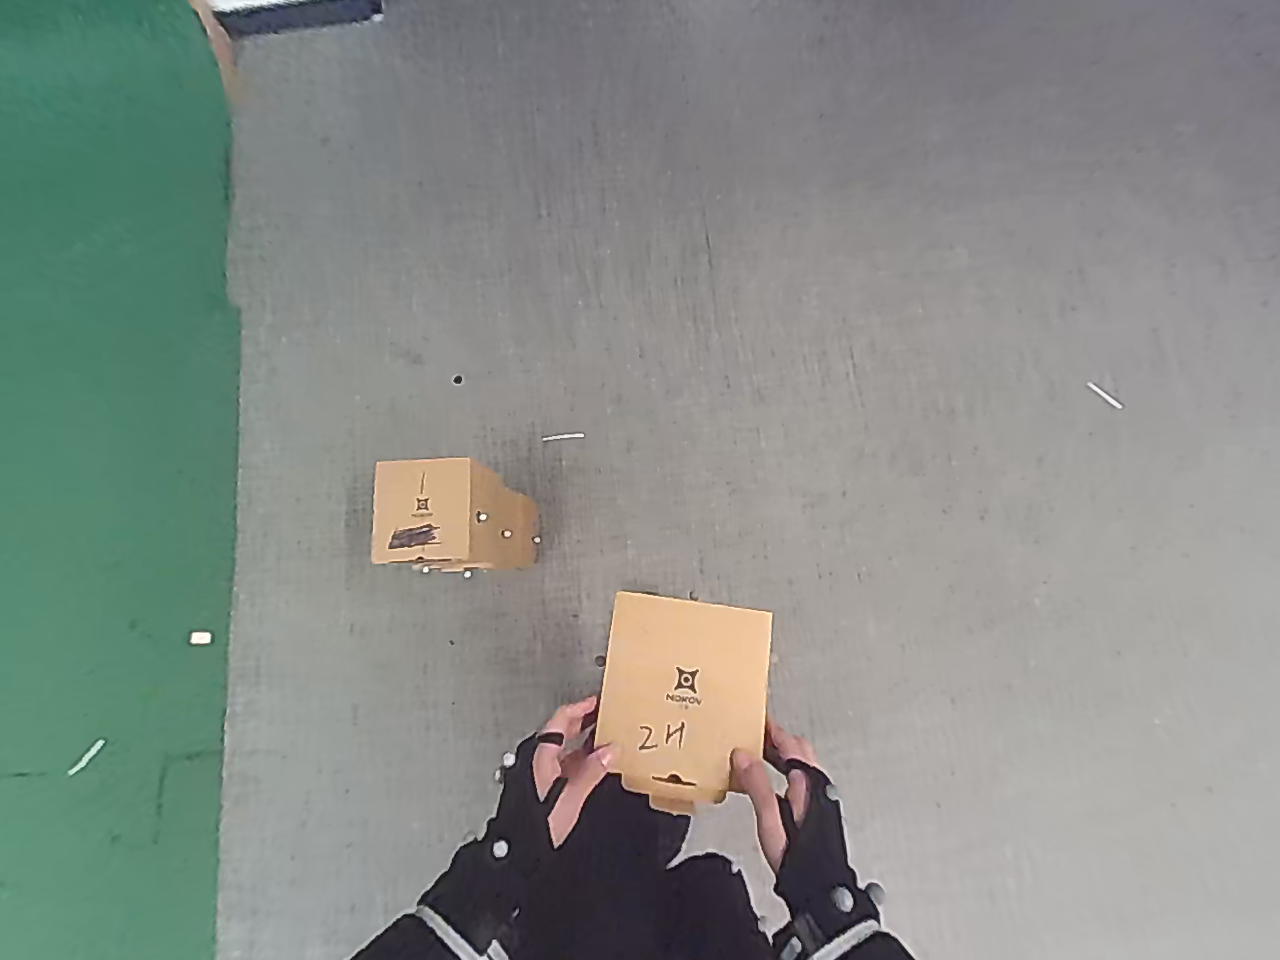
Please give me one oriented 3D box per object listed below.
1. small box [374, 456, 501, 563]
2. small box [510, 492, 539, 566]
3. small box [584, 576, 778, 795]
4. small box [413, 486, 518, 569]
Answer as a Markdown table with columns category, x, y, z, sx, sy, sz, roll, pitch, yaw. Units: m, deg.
| category | x | y | z | sx | sy | sz | roll | pitch | yaw |
| --- | --- | --- | --- | --- | --- | --- | --- | --- | --- |
| small box | -0.356 | 0.060 | 0.981 | 0.168 | 0.176 | 0.179 | -2 | 80 | 2 |
| small box | -0.350 | 0.122 | 1.303 | 0.179 | 0.176 | 0.168 | -1 | 80 | 2 |
| small box | 0.047 | 0.220 | 0.620 | 0.168 | 0.176 | 0.179 | 13 | 78 | 8 |
| small box | -0.360 | 0.097 | 1.141 | 0.168 | 0.176 | 0.179 | -1 | 81 | 2 |
